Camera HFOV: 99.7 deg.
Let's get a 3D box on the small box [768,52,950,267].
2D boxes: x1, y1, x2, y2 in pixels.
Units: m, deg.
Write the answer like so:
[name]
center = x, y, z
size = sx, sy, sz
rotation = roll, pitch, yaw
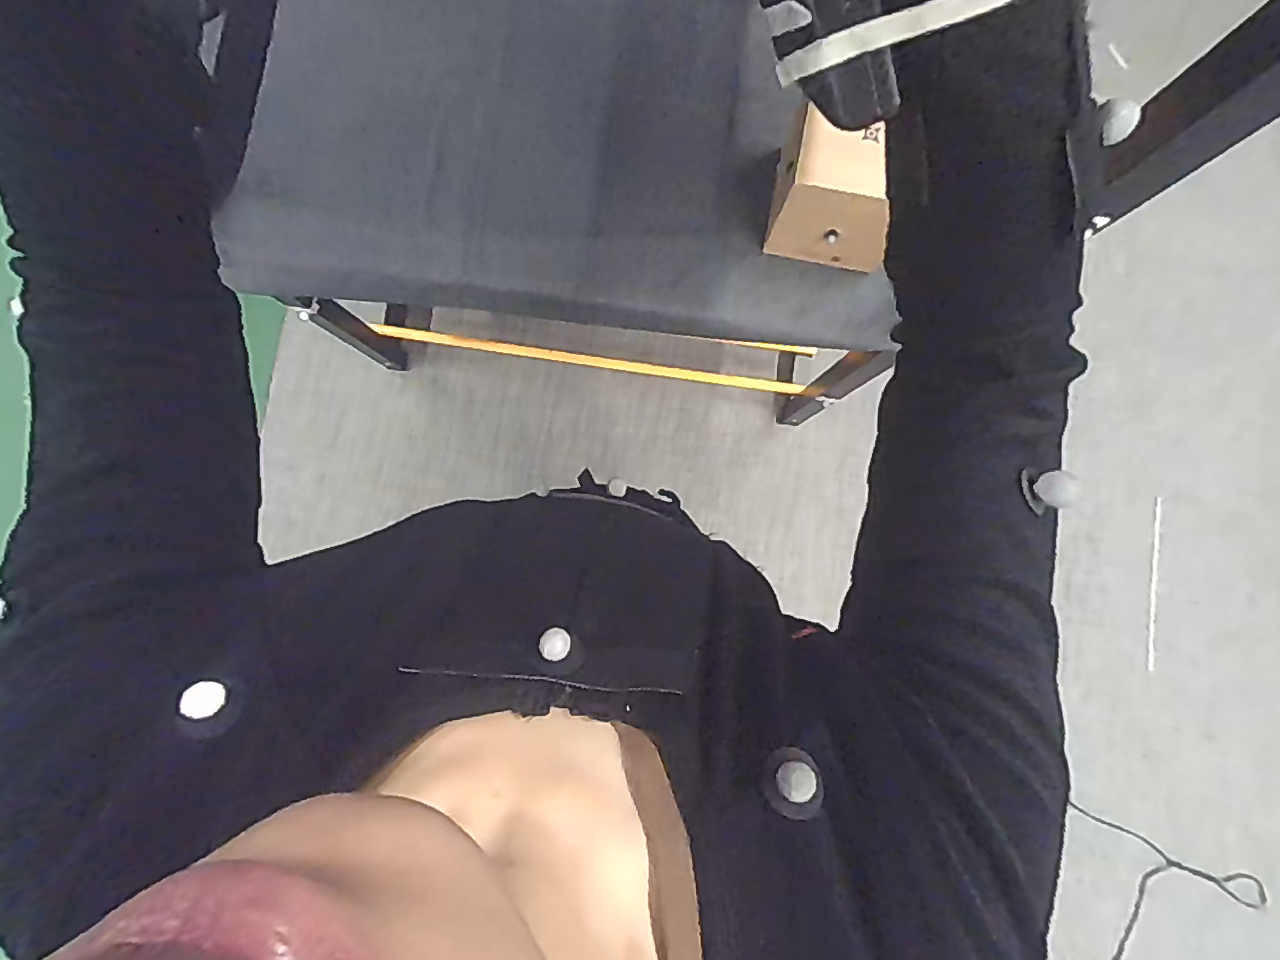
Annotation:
[small box]
center = 0.281, -0.417, 0.732
size = 0.168, 0.176, 0.179
rotation = 11, 85, 0
